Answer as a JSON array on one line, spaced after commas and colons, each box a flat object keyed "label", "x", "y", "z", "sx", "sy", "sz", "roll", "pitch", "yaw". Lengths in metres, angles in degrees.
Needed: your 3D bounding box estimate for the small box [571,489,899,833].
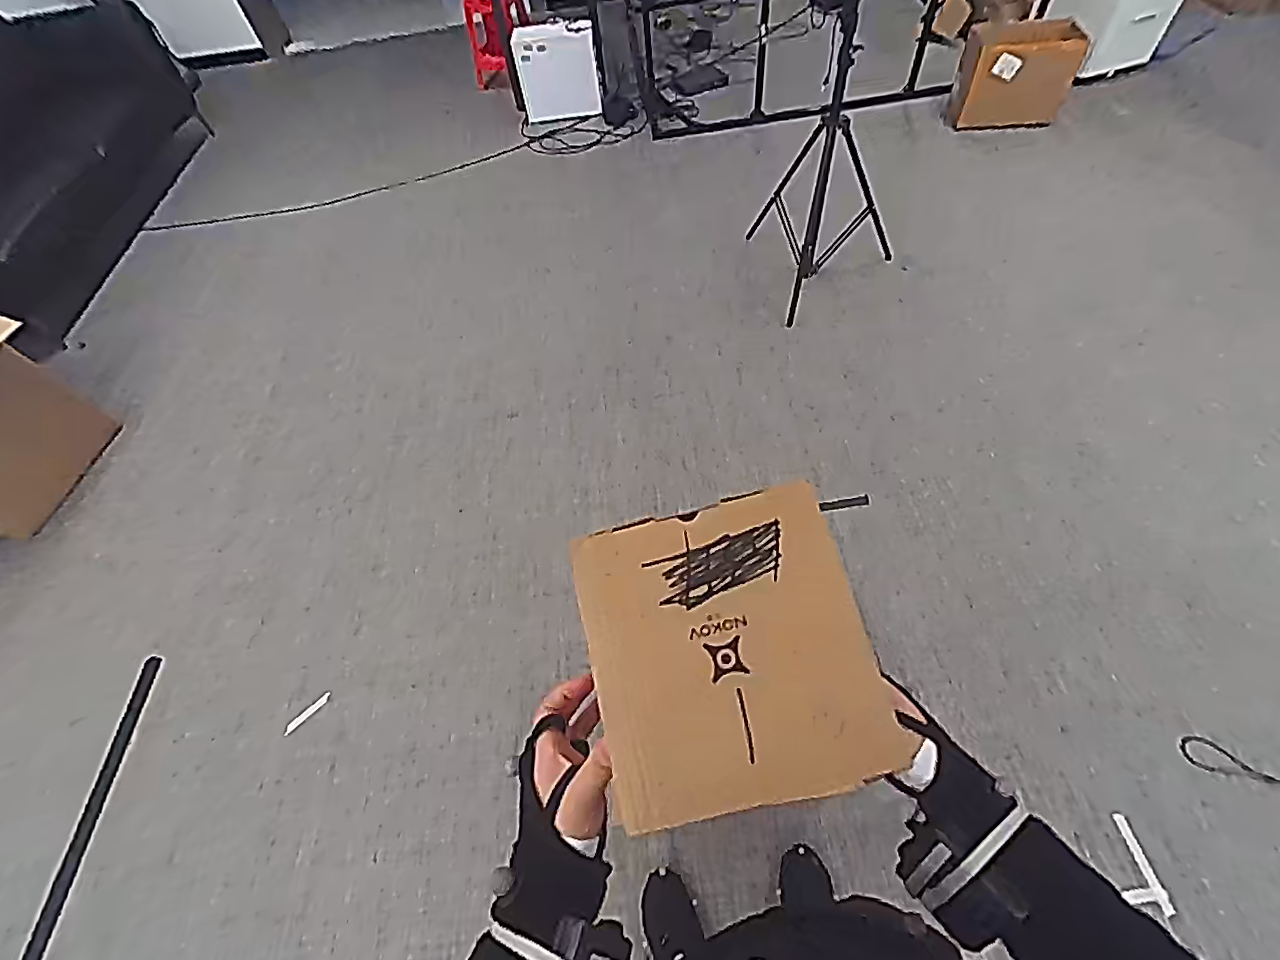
[{"label": "small box", "x": 0.056, "y": 0.128, "z": 0.407, "sx": 0.168, "sy": 0.176, "sz": 0.179, "roll": -14, "pitch": 71, "yaw": 1}]
